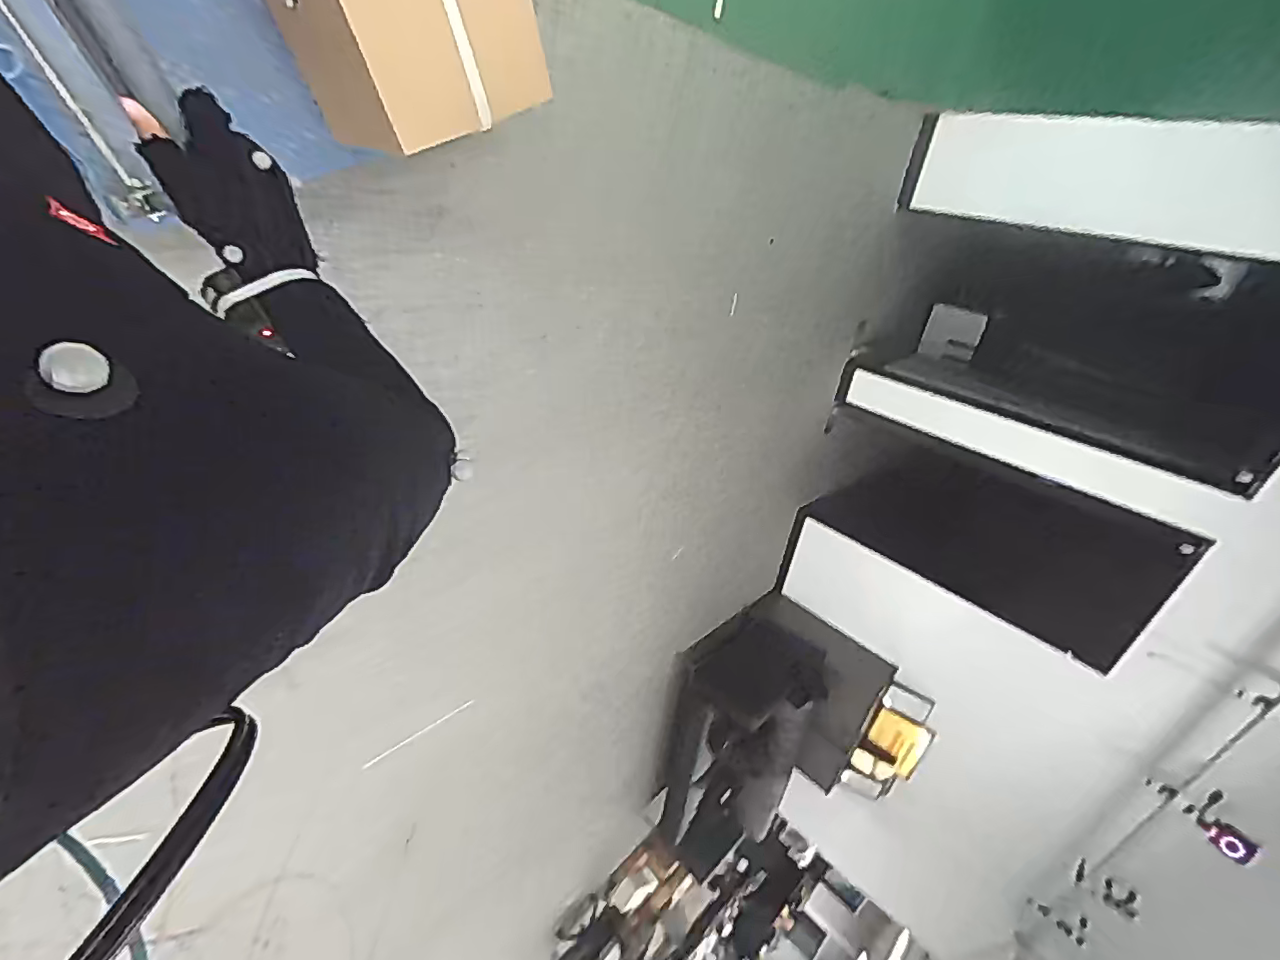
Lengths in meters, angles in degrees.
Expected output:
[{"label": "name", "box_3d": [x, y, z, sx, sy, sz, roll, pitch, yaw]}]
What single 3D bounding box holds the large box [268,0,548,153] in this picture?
[{"label": "large box", "box_3d": [-0.411, -0.812, 0.881, 0.320, 0.320, 0.408, -40, 140, -24]}]
